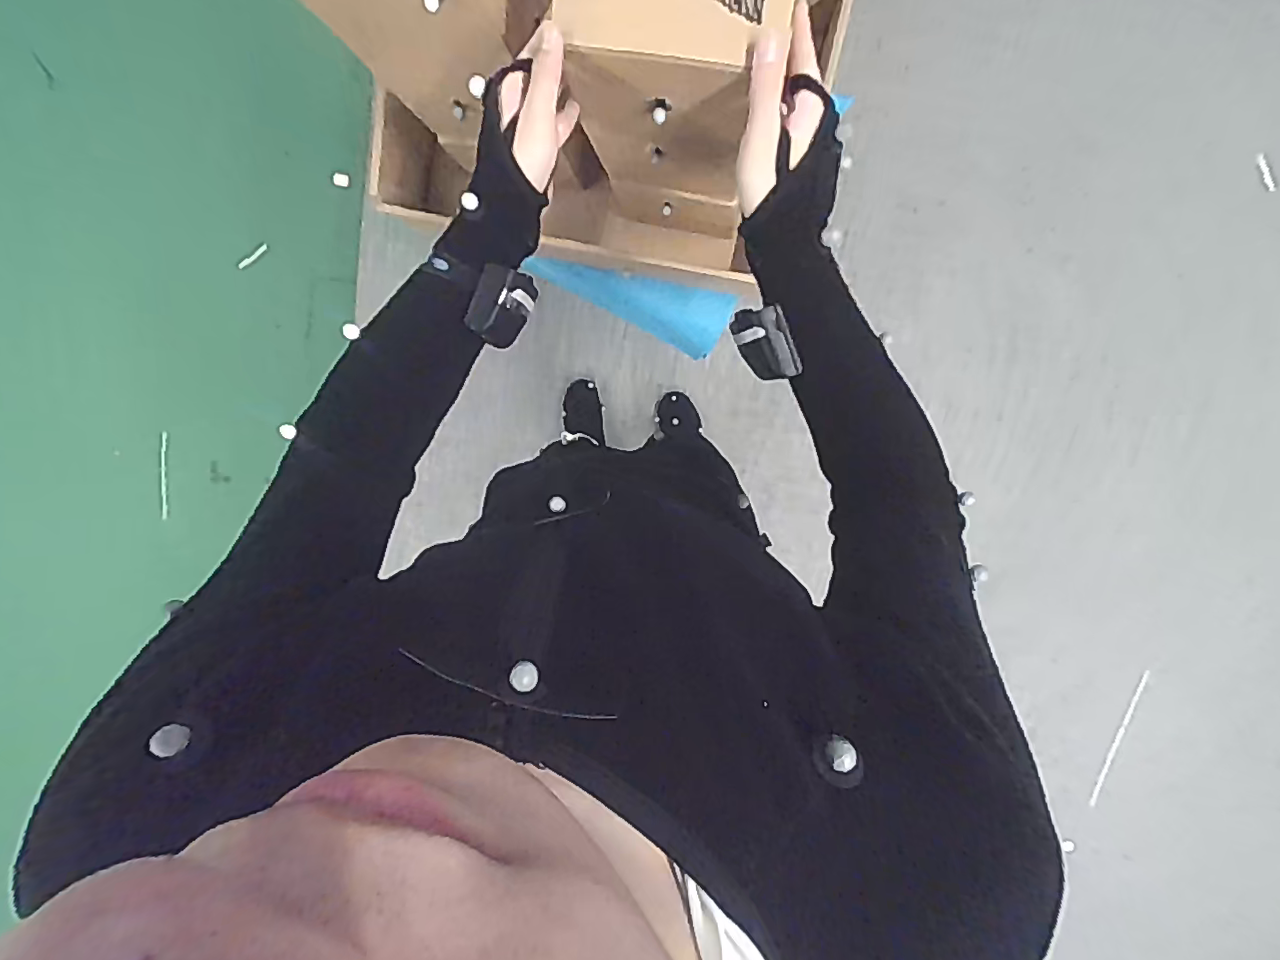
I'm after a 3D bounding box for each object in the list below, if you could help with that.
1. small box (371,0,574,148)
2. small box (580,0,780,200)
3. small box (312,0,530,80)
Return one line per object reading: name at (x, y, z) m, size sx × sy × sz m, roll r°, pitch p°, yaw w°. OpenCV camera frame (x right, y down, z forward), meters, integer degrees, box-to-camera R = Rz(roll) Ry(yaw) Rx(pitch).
small box at (-0.186, -0.518, 0.637) m, size 0.179 × 0.176 × 0.168 m, roll 8°, pitch 102°, yaw 3°
small box at (0.049, -0.445, 0.621) m, size 0.179 × 0.176 × 0.168 m, roll 14°, pitch 102°, yaw 6°
small box at (-0.203, -0.489, 0.476) m, size 0.179 × 0.176 × 0.168 m, roll 7°, pitch 101°, yaw 2°
